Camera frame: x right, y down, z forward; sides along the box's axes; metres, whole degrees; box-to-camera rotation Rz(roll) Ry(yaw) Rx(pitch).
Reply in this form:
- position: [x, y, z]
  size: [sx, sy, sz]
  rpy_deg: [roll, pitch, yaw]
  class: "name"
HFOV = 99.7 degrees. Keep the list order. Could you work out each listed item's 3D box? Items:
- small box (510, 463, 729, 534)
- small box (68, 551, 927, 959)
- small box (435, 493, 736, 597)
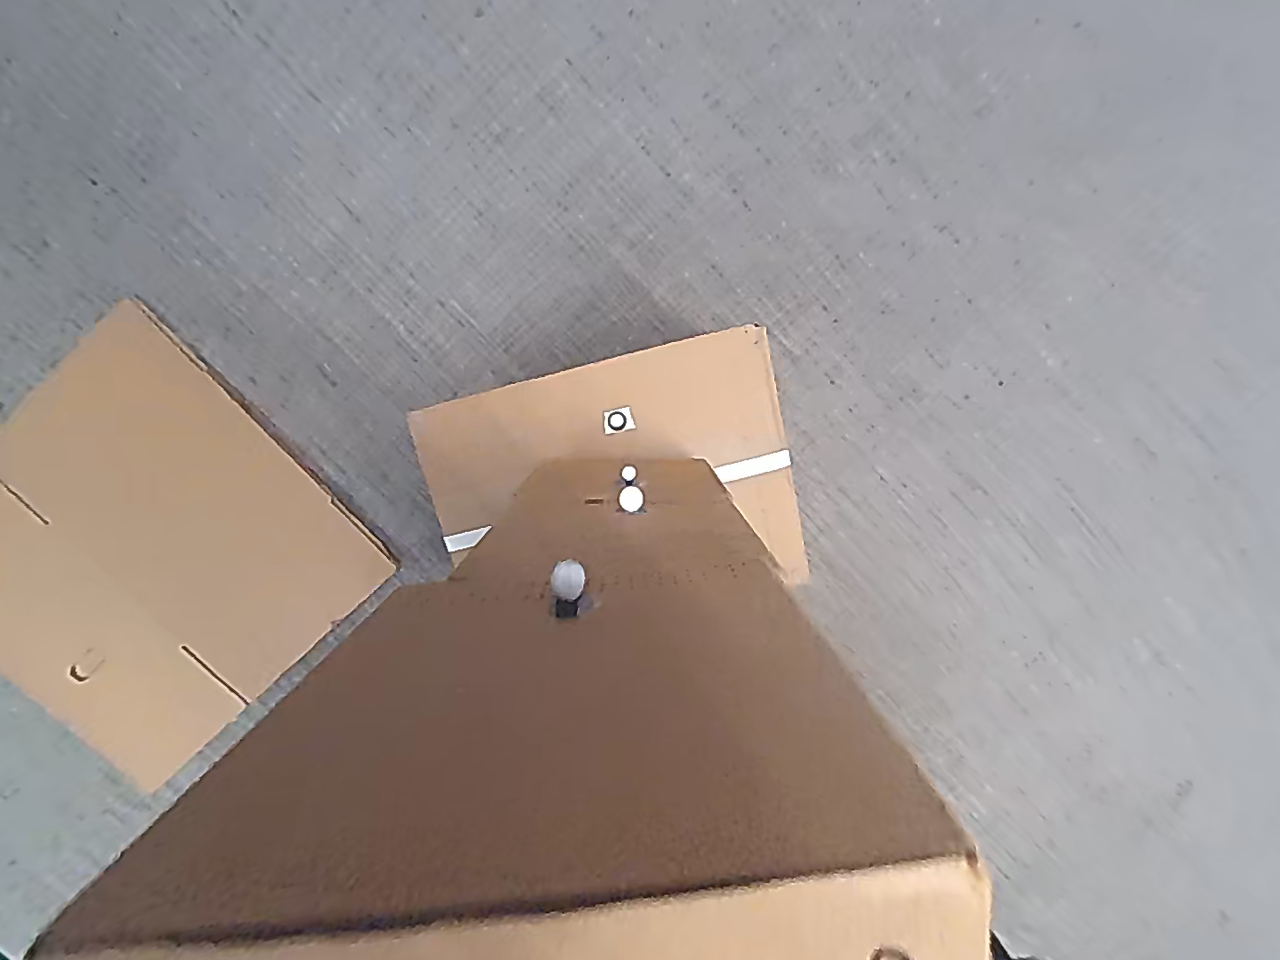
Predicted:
- position: [-0.016, 0.077, 0.520]
  size: [0.179, 0.176, 0.168]
  rpy_deg: [0, 102, 1]
  class: "small box"
- position: [-0.021, 0.135, 0.200]
  size: [0.179, 0.176, 0.168]
  rpy_deg: [-9, 100, 0]
  class: "small box"
- position: [-0.016, 0.116, 0.360]
  size: [0.168, 0.176, 0.179]
  rpy_deg: [-3, 103, 0]
  class: "small box"
